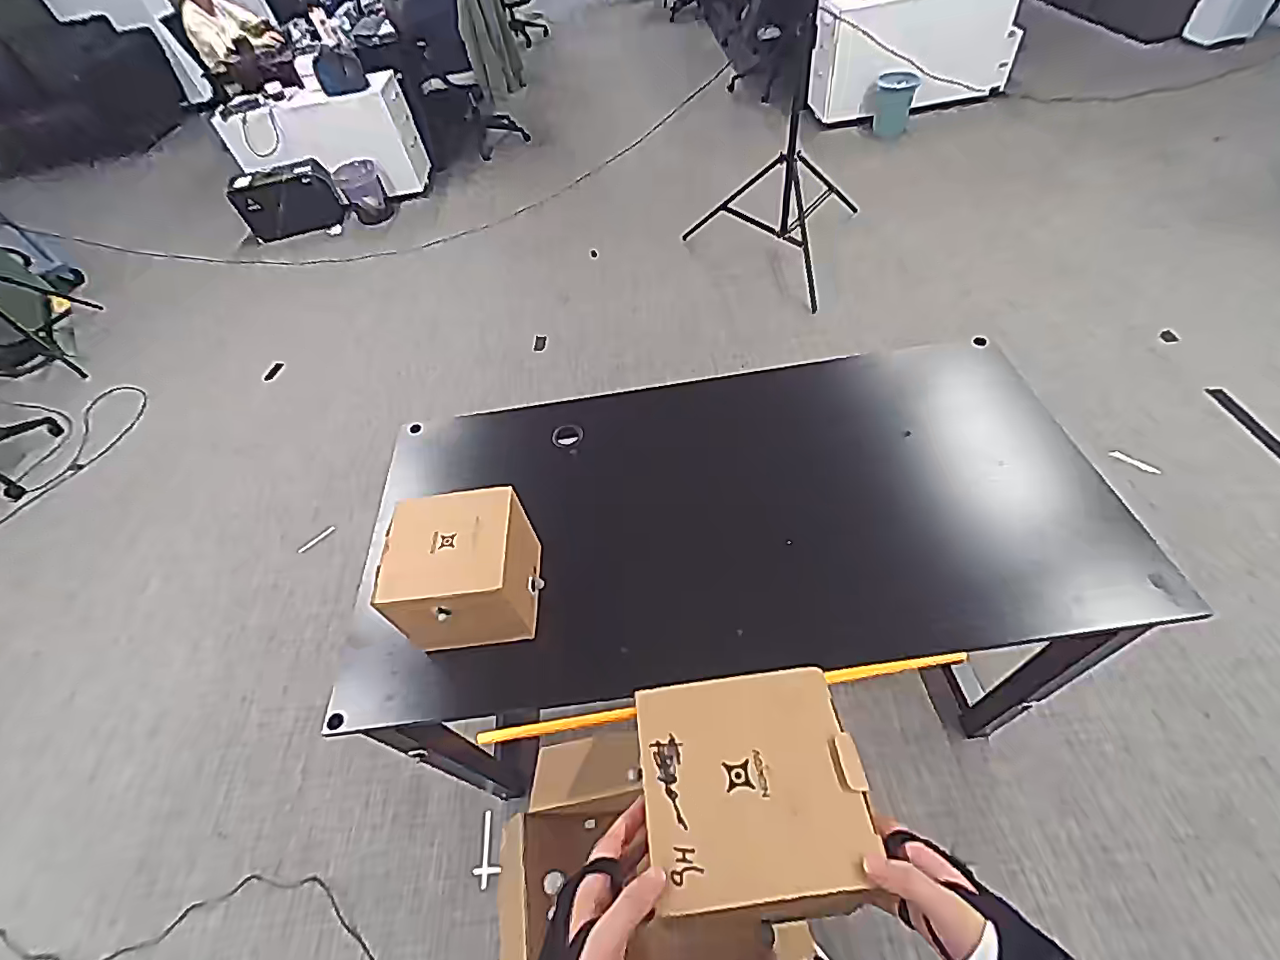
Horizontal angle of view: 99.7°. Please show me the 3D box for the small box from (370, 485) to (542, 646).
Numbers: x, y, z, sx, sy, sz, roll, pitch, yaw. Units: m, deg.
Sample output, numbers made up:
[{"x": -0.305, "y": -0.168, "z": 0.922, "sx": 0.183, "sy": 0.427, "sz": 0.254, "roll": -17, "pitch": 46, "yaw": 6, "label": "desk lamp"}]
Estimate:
[{"x": -0.252, "y": 0.130, "z": 0.787, "sx": 0.179, "sy": 0.176, "sz": 0.168, "roll": -7, "pitch": 53, "yaw": 2, "label": "small box"}]

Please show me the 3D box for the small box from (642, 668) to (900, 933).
[{"x": 0.098, "y": 0.293, "z": 0.493, "sx": 0.179, "sy": 0.176, "sz": 0.168, "roll": -7, "pitch": 45, "yaw": -1, "label": "small box"}]
